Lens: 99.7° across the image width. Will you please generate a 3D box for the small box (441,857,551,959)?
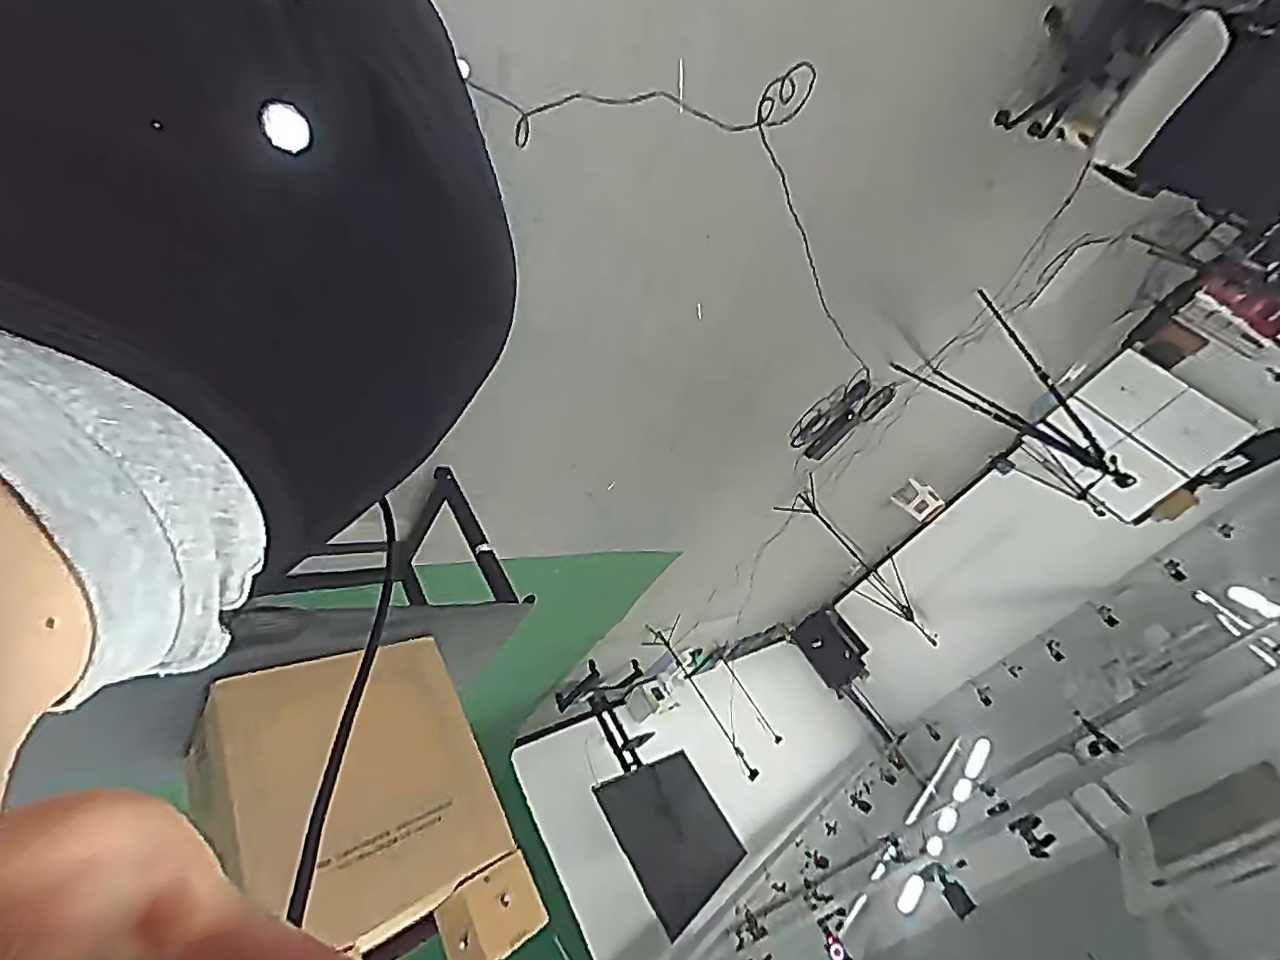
[{"bbox_3d":[-0.346,1.035,1.276,0.168,0.176,0.179,1,134,-48],"label":"small box"}]
